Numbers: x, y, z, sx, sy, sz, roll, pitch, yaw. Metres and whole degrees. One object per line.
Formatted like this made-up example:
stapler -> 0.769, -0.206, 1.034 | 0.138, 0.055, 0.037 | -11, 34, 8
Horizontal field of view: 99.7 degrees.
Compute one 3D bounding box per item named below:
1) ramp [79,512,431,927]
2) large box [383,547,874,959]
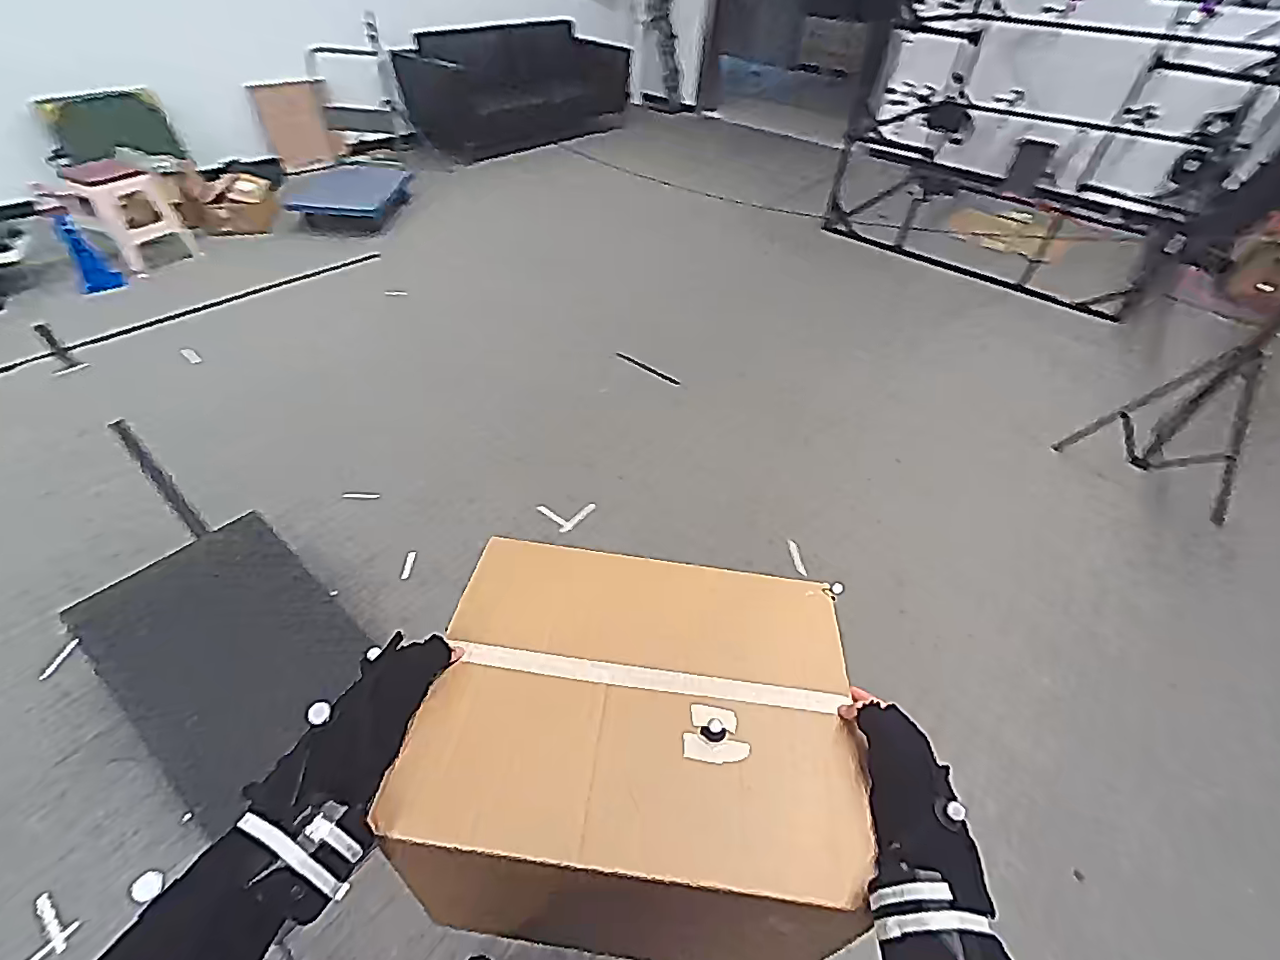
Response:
ramp -> -0.949, 0.522, 1.415 | 0.991, 0.206, 0.509 | 31, 50, 24
large box -> -0.011, 0.314, 0.634 | 0.408, 0.320, 0.320 | 7, 40, 1
